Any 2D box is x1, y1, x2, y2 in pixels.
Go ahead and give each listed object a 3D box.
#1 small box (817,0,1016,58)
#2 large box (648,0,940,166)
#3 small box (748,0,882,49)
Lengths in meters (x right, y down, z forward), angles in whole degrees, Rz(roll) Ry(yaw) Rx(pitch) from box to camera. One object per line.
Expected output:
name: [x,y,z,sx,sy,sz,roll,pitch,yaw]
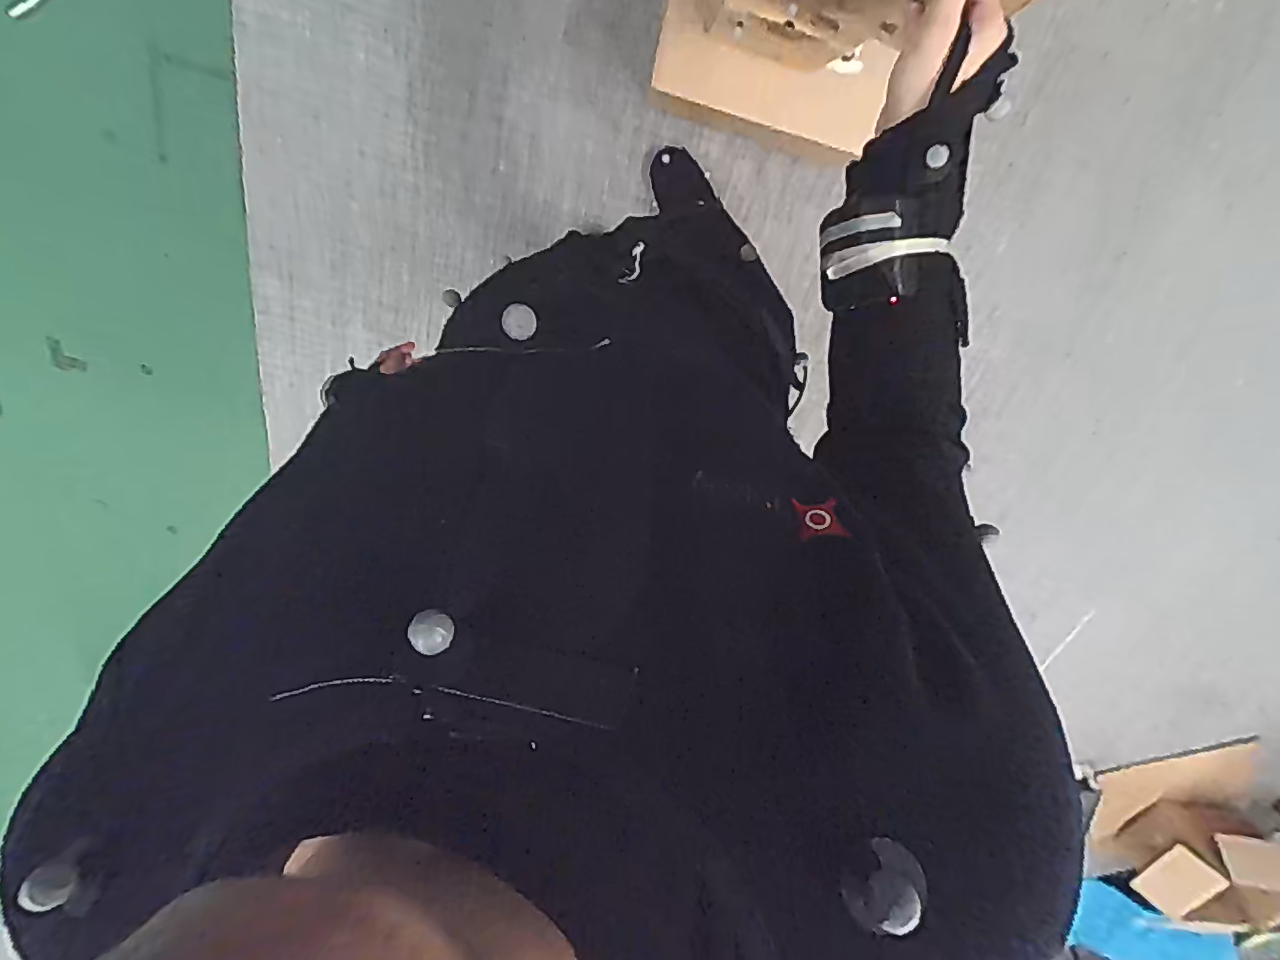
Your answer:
small box: [0.205,-0.419,0.343,0.168,0.176,0.179,18,109,-8]
large box: [0.244,-0.739,0.885,0.408,0.320,0.320,12,120,-8]
small box: [0.209,-0.561,0.517,0.168,0.176,0.179,17,118,-10]
